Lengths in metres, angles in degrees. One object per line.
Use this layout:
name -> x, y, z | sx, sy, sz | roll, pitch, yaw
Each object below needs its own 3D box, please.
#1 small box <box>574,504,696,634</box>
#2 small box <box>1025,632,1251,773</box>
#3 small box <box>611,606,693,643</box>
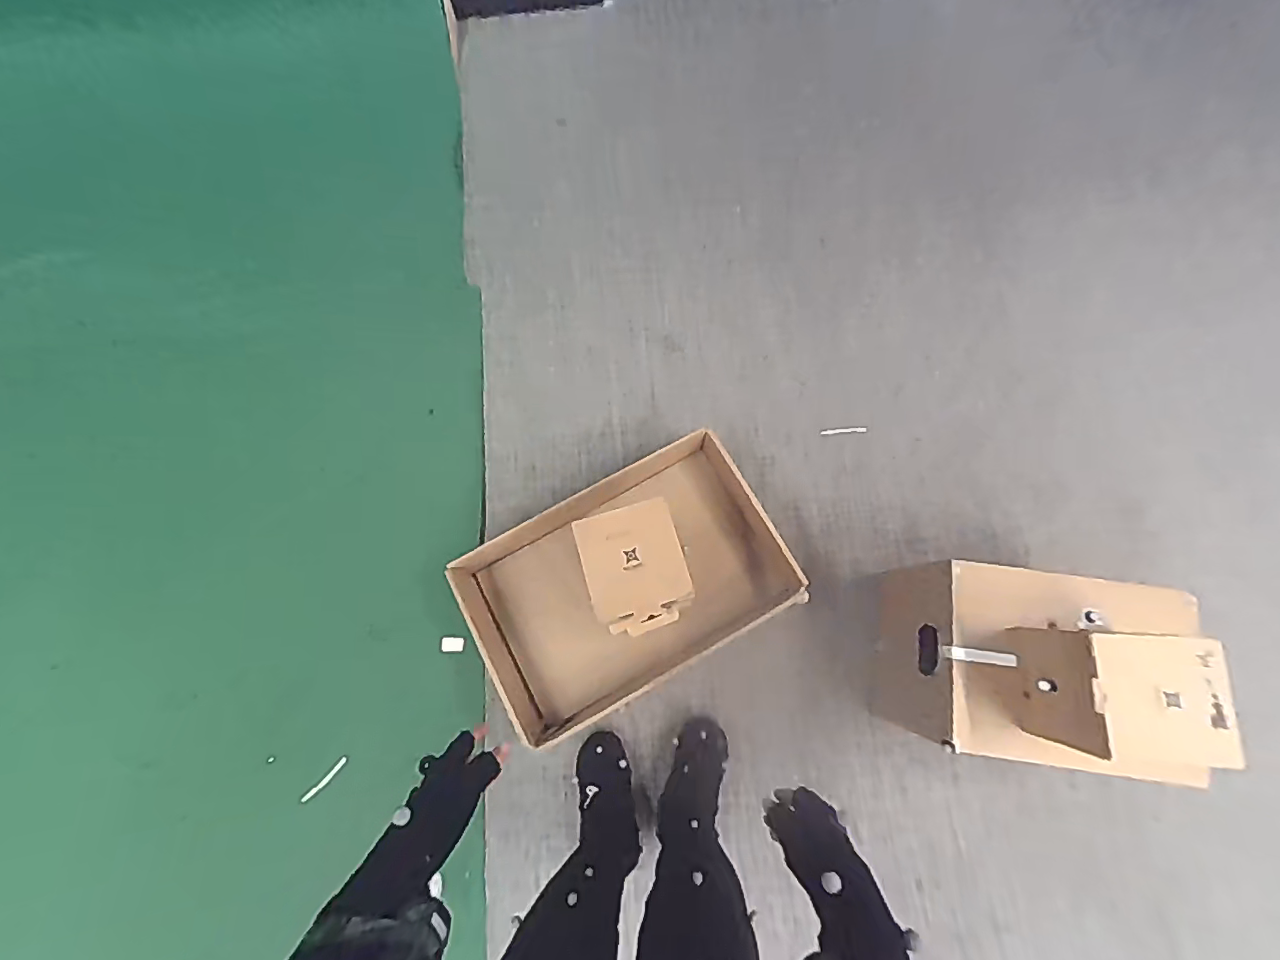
small box -> -0.005, 0.163, 0.958 | 0.168, 0.176, 0.179 | -18, 73, -3
small box -> 0.703, 0.313, 0.793 | 0.179, 0.176, 0.168 | 1, 76, 2
small box -> 0.003, 0.218, 1.110 | 0.168, 0.176, 0.179 | -21, 74, -3
